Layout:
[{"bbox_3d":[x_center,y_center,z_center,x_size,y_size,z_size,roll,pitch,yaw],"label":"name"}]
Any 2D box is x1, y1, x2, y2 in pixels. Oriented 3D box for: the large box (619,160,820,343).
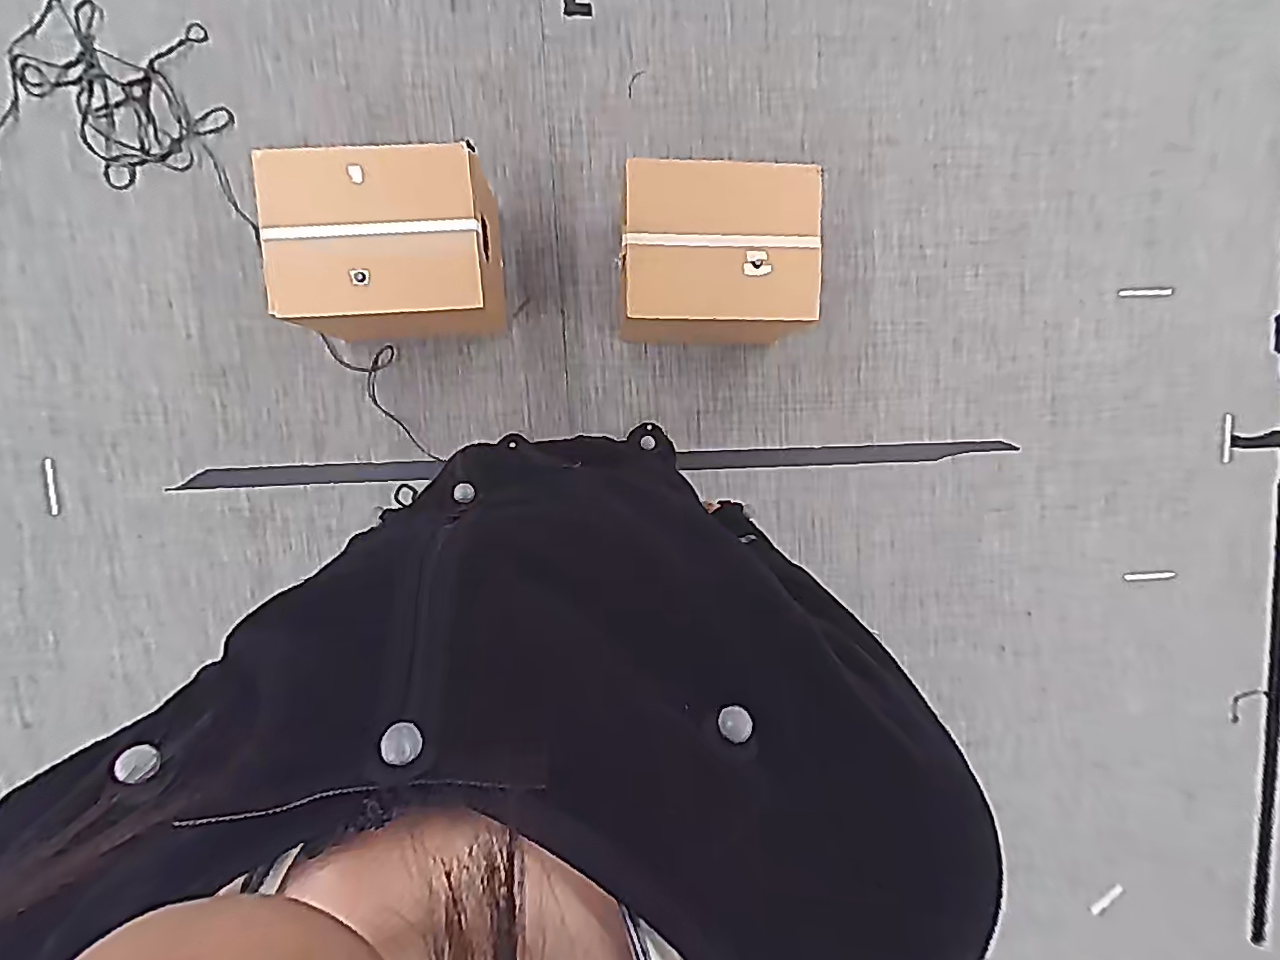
[{"bbox_3d":[0.161,-0.501,1.257,0.408,0.320,0.320,0,95,-5],"label":"large box"}]
